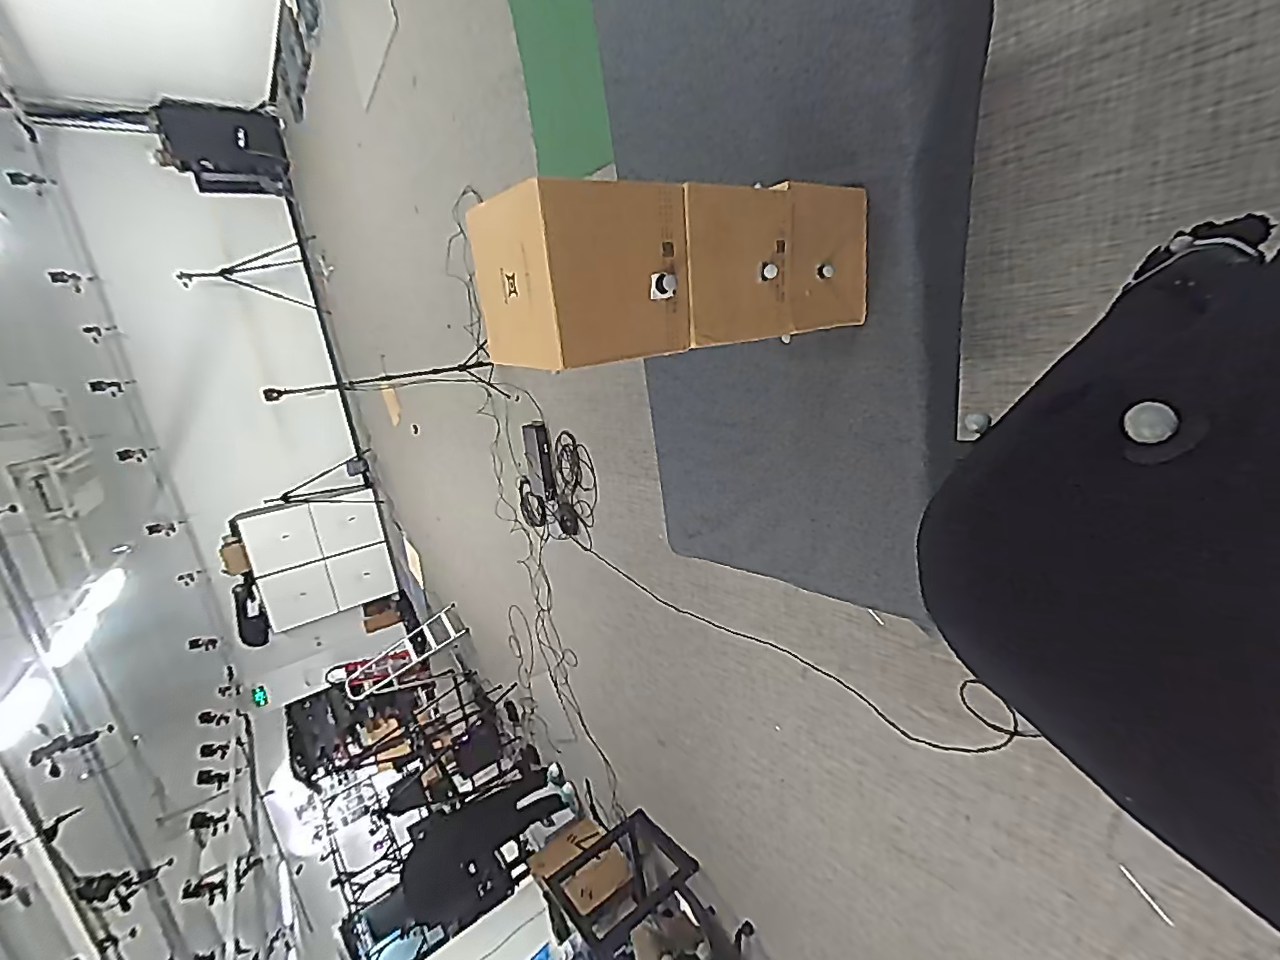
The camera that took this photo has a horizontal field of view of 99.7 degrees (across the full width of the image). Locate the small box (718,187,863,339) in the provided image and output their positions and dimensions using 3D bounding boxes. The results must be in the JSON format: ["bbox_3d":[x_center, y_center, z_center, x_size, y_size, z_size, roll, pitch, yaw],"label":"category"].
[{"bbox_3d":[0.200,-0.305,0.773,0.168,0.176,0.179,15,118,52],"label":"small box"}]

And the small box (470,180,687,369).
[{"bbox_3d":[-0.065,-0.222,0.603,0.179,0.176,0.168,18,121,51],"label":"small box"}]

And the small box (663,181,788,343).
[{"bbox_3d":[0.065,-0.264,0.688,0.179,0.176,0.168,16,118,54],"label":"small box"}]
